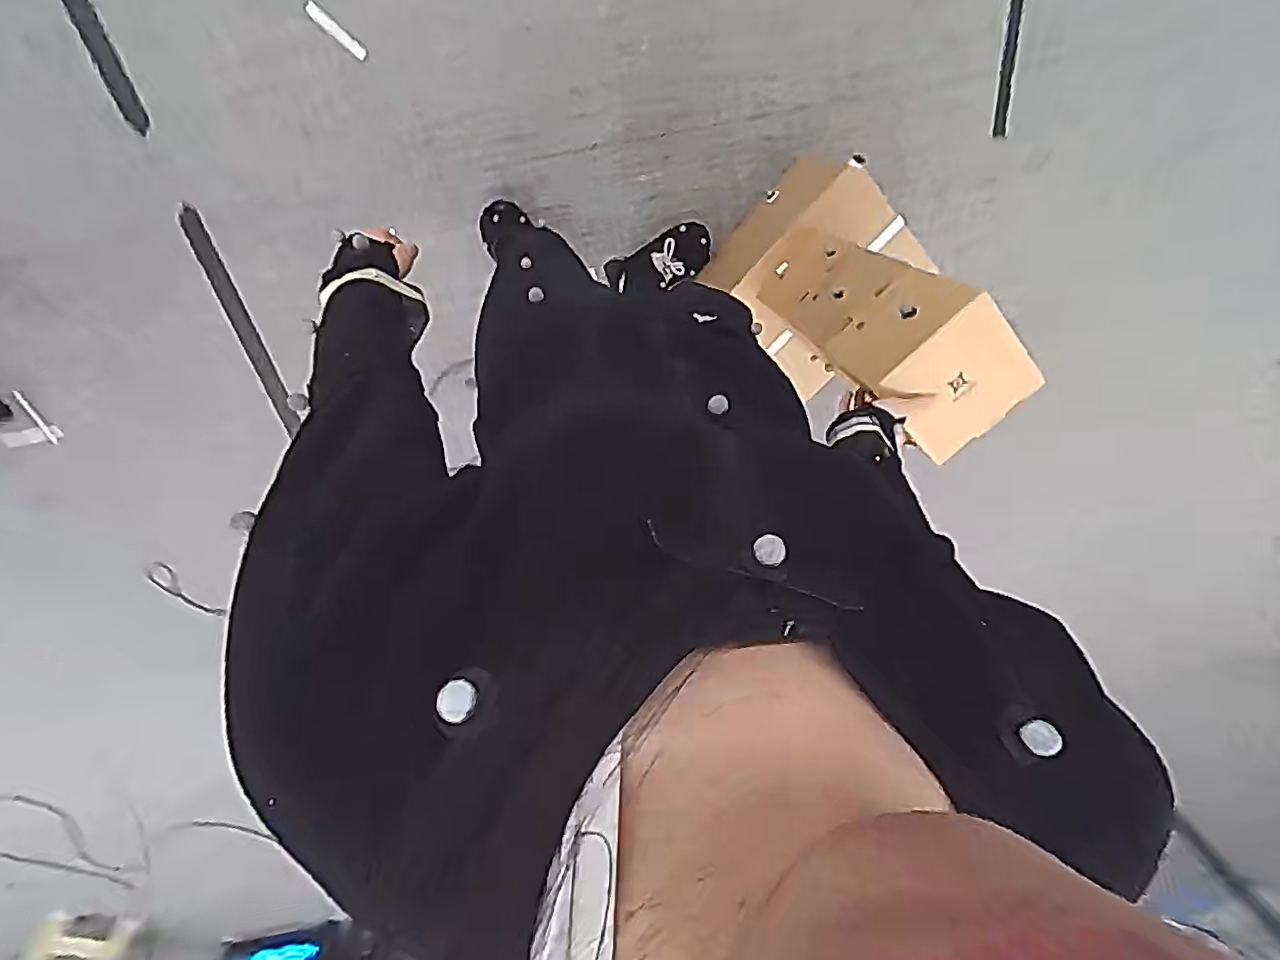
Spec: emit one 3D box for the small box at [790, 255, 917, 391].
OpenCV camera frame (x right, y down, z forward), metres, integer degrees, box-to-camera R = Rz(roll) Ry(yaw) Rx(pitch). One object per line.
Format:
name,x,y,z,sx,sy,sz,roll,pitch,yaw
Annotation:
small box,0.380,-0.249,0.897,0.179,0.176,0.168,36,111,-24

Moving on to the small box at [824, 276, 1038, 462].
small box,0.394,-0.163,0.760,0.179,0.176,0.168,37,110,-25
